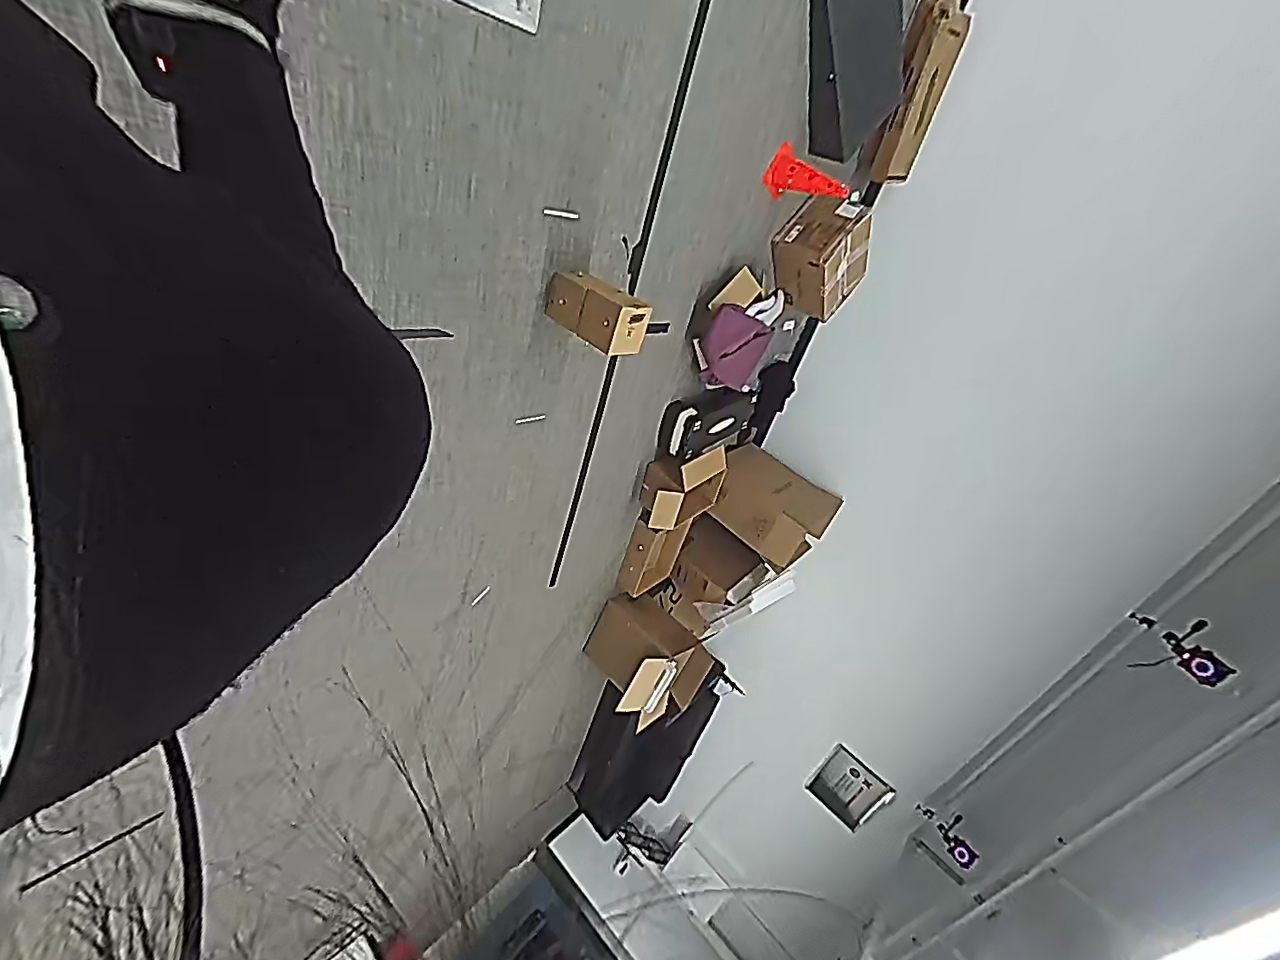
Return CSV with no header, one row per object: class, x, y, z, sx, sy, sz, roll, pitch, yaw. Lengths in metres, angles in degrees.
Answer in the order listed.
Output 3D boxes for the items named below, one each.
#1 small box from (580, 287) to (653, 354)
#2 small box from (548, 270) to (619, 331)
small box,-0.088,-0.562,1.896,0.168,0.176,0.179,-19,138,-48
small box,-0.210,-0.651,1.966,0.179,0.176,0.168,-18,137,-47
